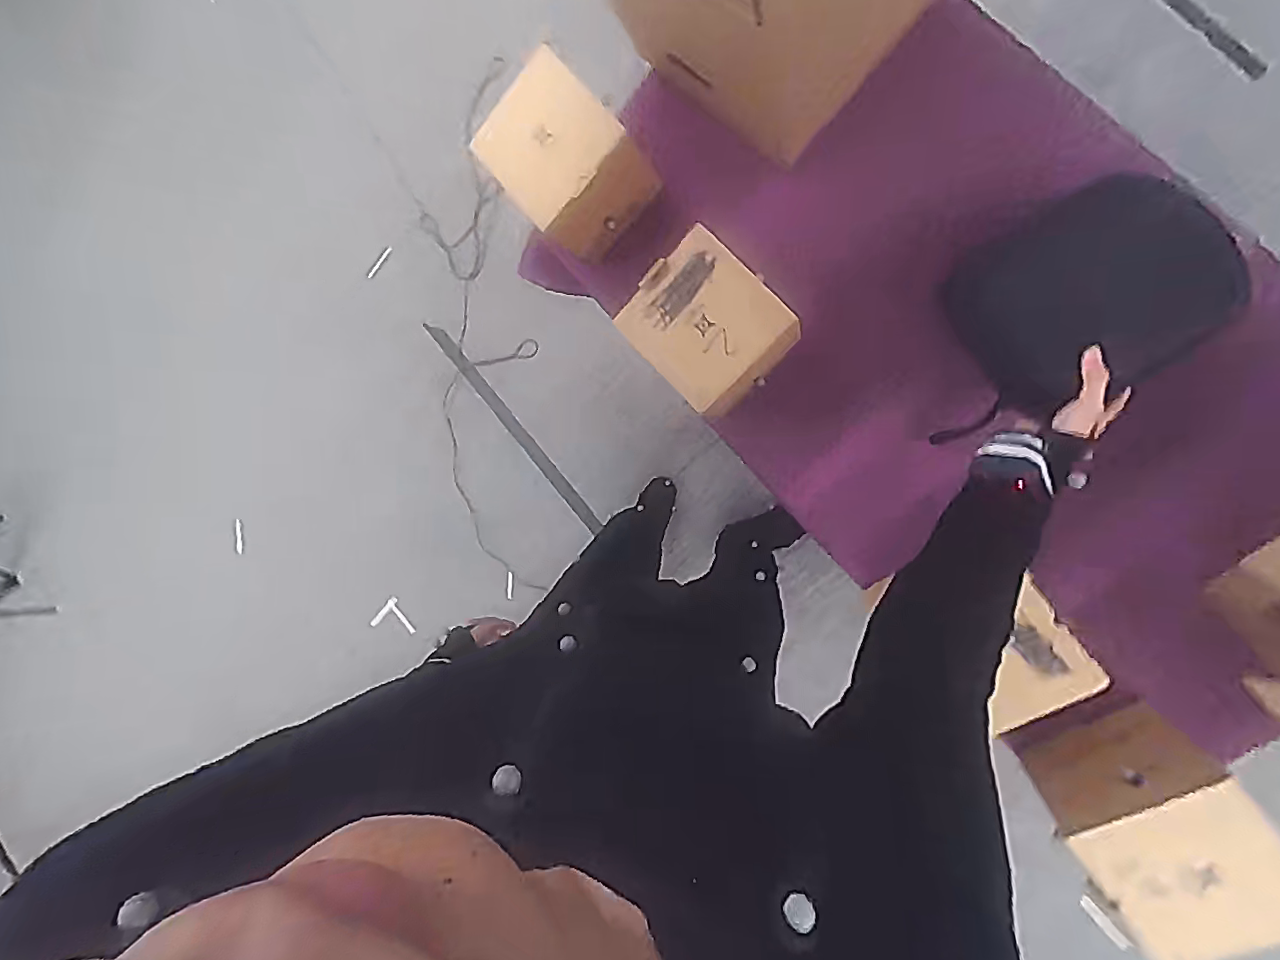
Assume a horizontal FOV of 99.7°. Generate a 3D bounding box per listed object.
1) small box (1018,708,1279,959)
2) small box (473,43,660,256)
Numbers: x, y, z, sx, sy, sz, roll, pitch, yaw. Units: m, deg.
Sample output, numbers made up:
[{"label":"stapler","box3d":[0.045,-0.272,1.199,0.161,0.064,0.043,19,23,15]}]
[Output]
[{"label":"small box","box3d":[0.603,0.406,0.642,0.179,0.176,0.168,-36,83,18]},{"label":"small box","box3d":[-0.099,-0.462,0.791,0.168,0.176,0.179,-42,83,18]}]
